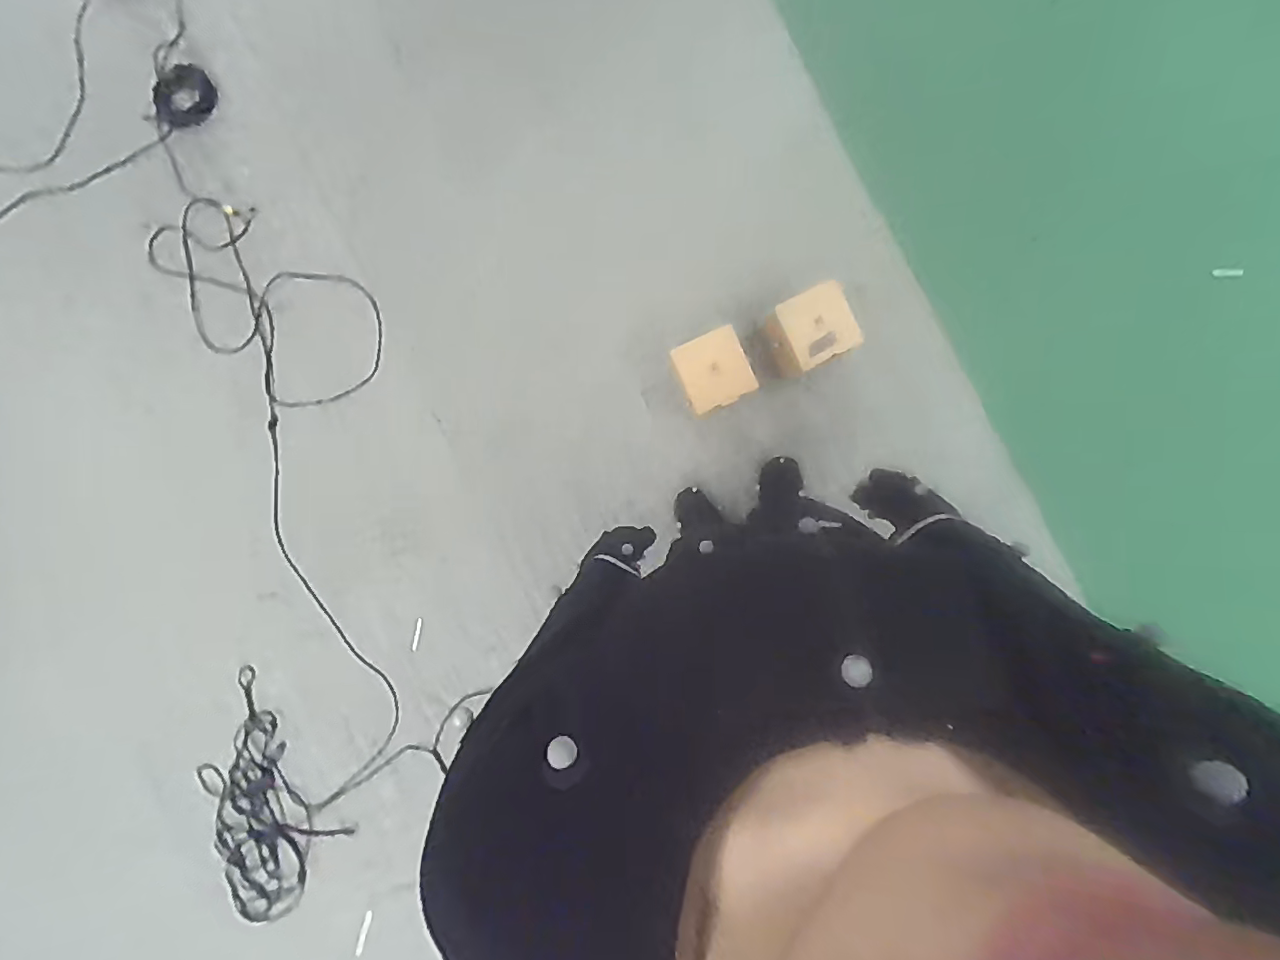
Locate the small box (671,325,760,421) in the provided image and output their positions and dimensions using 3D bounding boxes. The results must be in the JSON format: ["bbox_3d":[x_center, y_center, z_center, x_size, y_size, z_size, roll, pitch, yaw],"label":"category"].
[{"bbox_3d":[0.185,-0.265,1.387,0.168,0.176,0.179,-25,89,3],"label":"small box"}]

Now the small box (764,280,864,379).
[{"bbox_3d":[0.433,-0.369,1.372,0.168,0.176,0.179,-25,88,3],"label":"small box"}]
